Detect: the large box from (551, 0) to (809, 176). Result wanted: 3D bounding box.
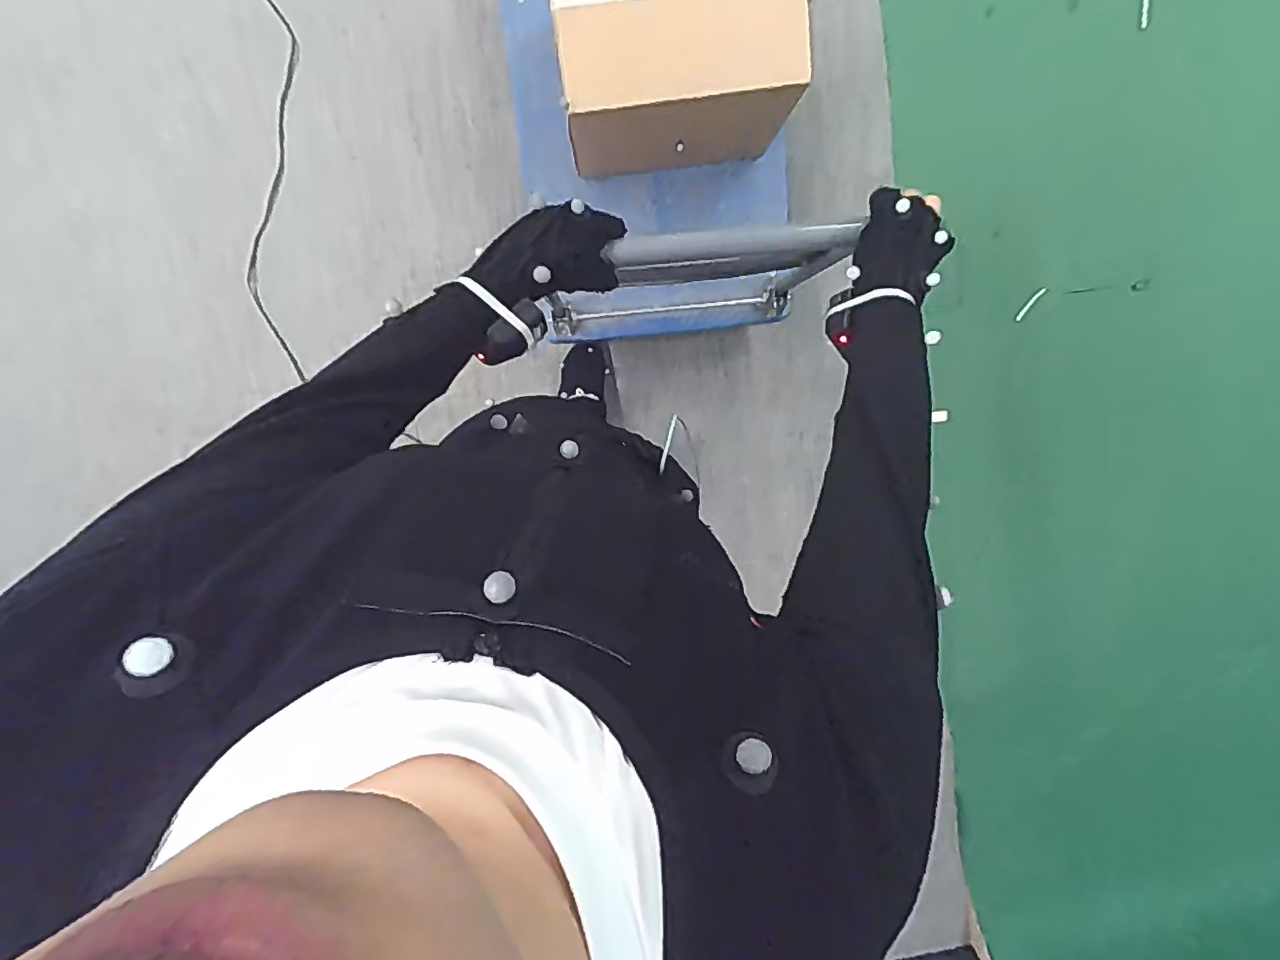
[{"bbox_3d":[0.056,-0.801,1.000,0.408,0.320,0.320,-8,101,0],"label":"large box"}]
